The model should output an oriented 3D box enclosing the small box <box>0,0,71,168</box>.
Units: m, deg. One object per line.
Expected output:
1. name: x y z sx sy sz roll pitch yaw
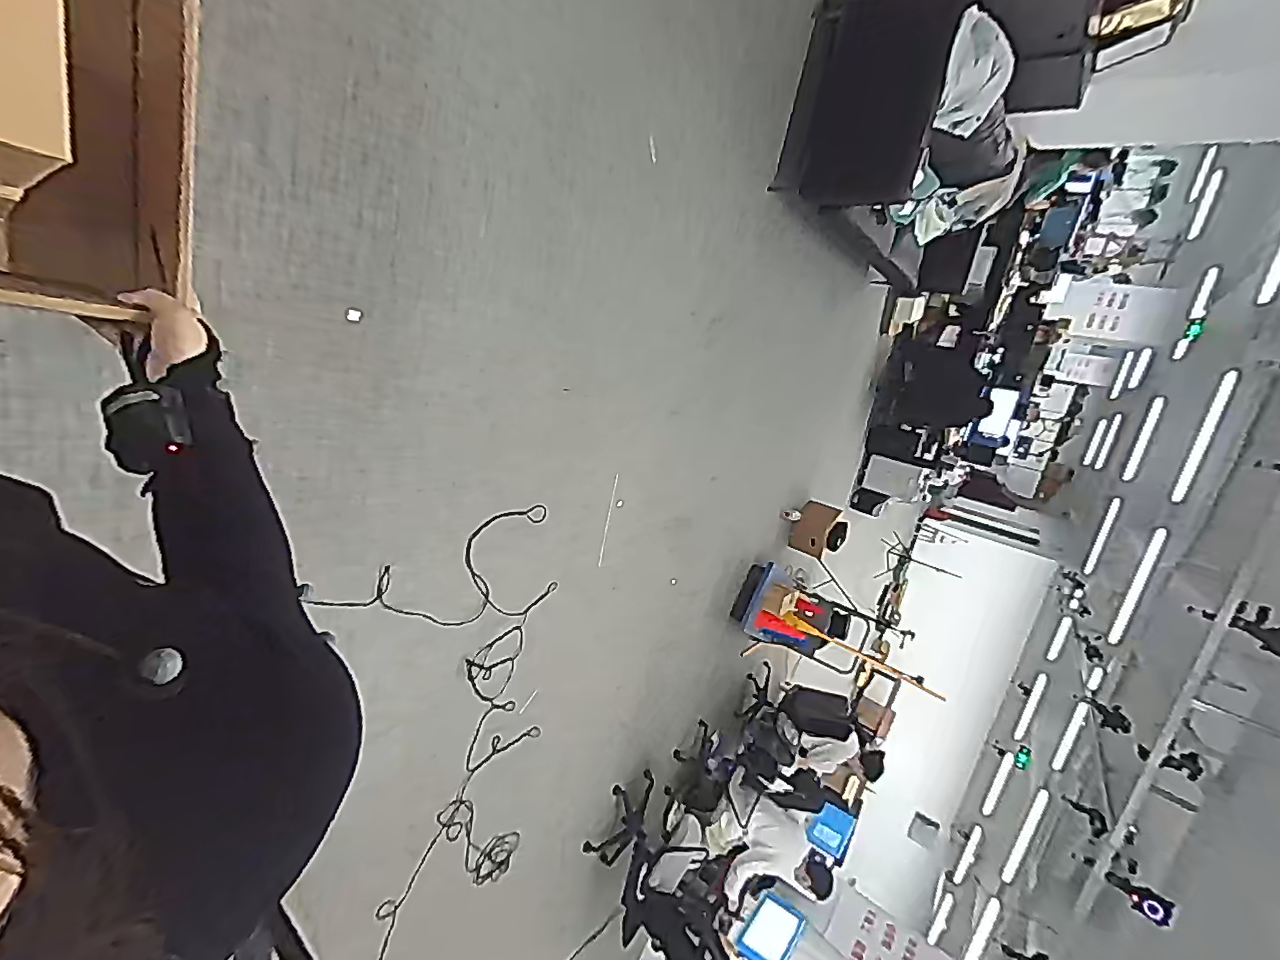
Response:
1. small box: -0.429 -0.278 0.272 0.179 0.176 0.168 -7 109 -54
